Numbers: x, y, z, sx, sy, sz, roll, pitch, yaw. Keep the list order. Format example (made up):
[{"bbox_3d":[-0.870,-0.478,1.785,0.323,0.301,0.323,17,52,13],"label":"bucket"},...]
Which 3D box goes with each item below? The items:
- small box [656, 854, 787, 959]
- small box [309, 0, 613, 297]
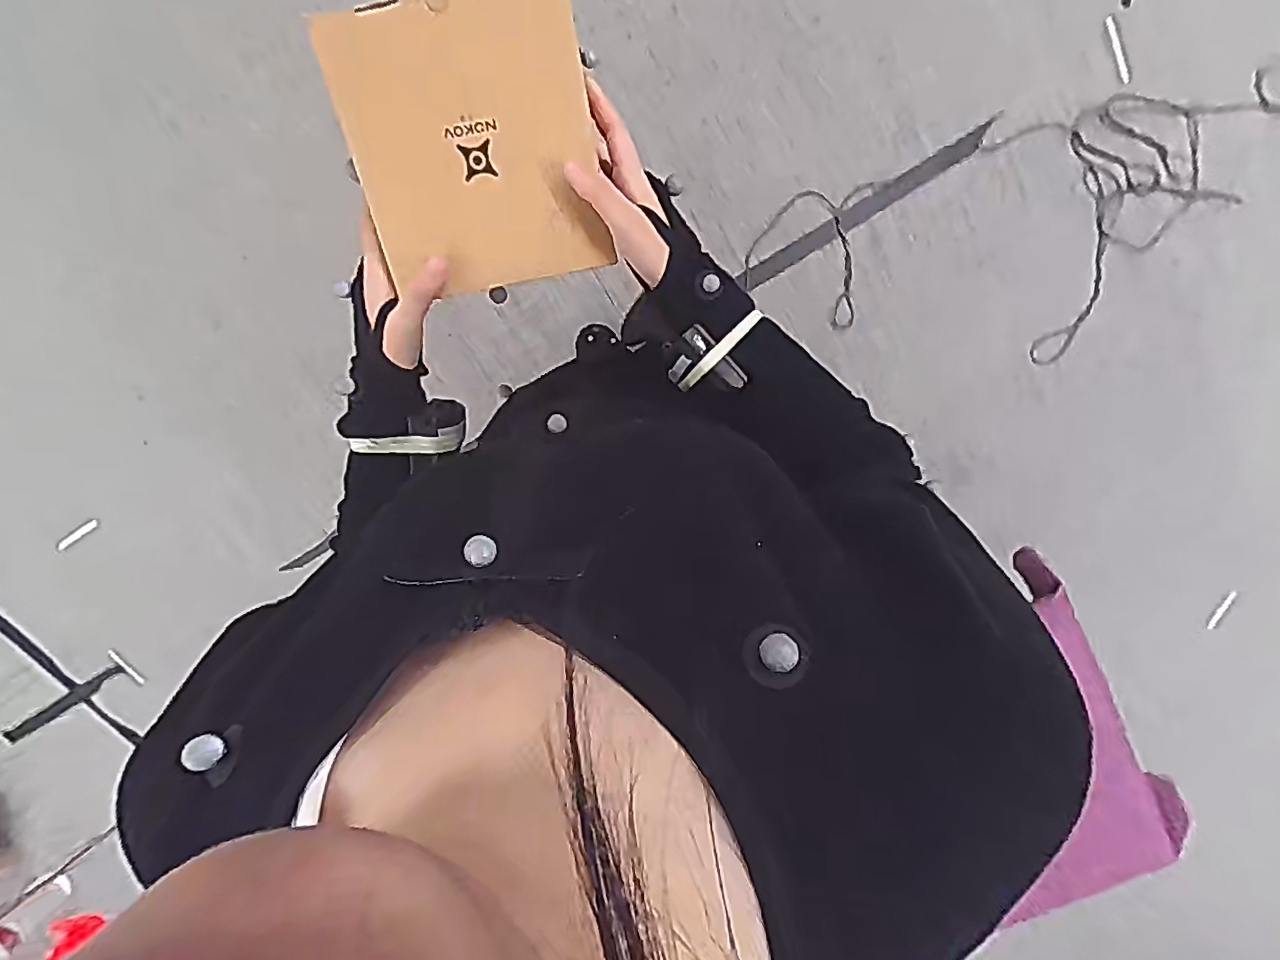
[{"bbox_3d":[0.137,0.780,0.911,0.179,0.176,0.168,-29,105,9],"label":"small box"},{"bbox_3d":[-0.117,-0.258,0.438,0.168,0.176,0.179,-11,112,-1],"label":"small box"}]
